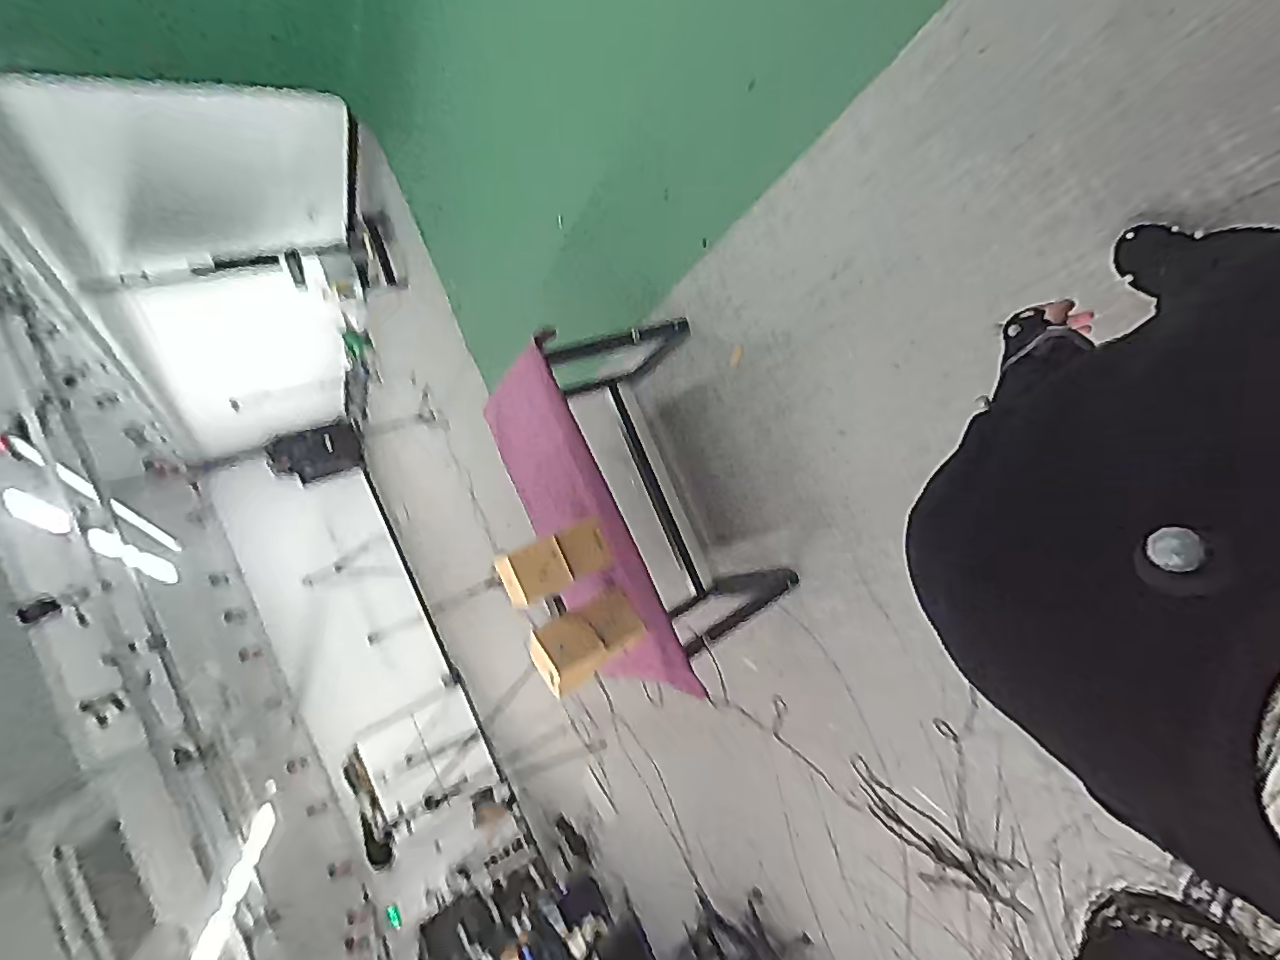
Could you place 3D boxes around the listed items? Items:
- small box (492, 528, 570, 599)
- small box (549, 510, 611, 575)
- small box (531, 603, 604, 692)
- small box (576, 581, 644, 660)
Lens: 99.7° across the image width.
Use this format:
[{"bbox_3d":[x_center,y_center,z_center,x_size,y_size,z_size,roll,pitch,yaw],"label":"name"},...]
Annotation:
[{"bbox_3d":[-0.341,0.264,1.717,0.179,0.176,0.168,-24,91,60],"label":"small box"},{"bbox_3d":[-0.222,0.214,1.817,0.179,0.176,0.168,-23,91,58],"label":"small box"},{"bbox_3d":[-0.230,0.525,1.714,0.179,0.176,0.168,45,142,32],"label":"small box"},{"bbox_3d":[-0.110,0.471,1.815,0.179,0.176,0.168,52,145,22],"label":"small box"}]
